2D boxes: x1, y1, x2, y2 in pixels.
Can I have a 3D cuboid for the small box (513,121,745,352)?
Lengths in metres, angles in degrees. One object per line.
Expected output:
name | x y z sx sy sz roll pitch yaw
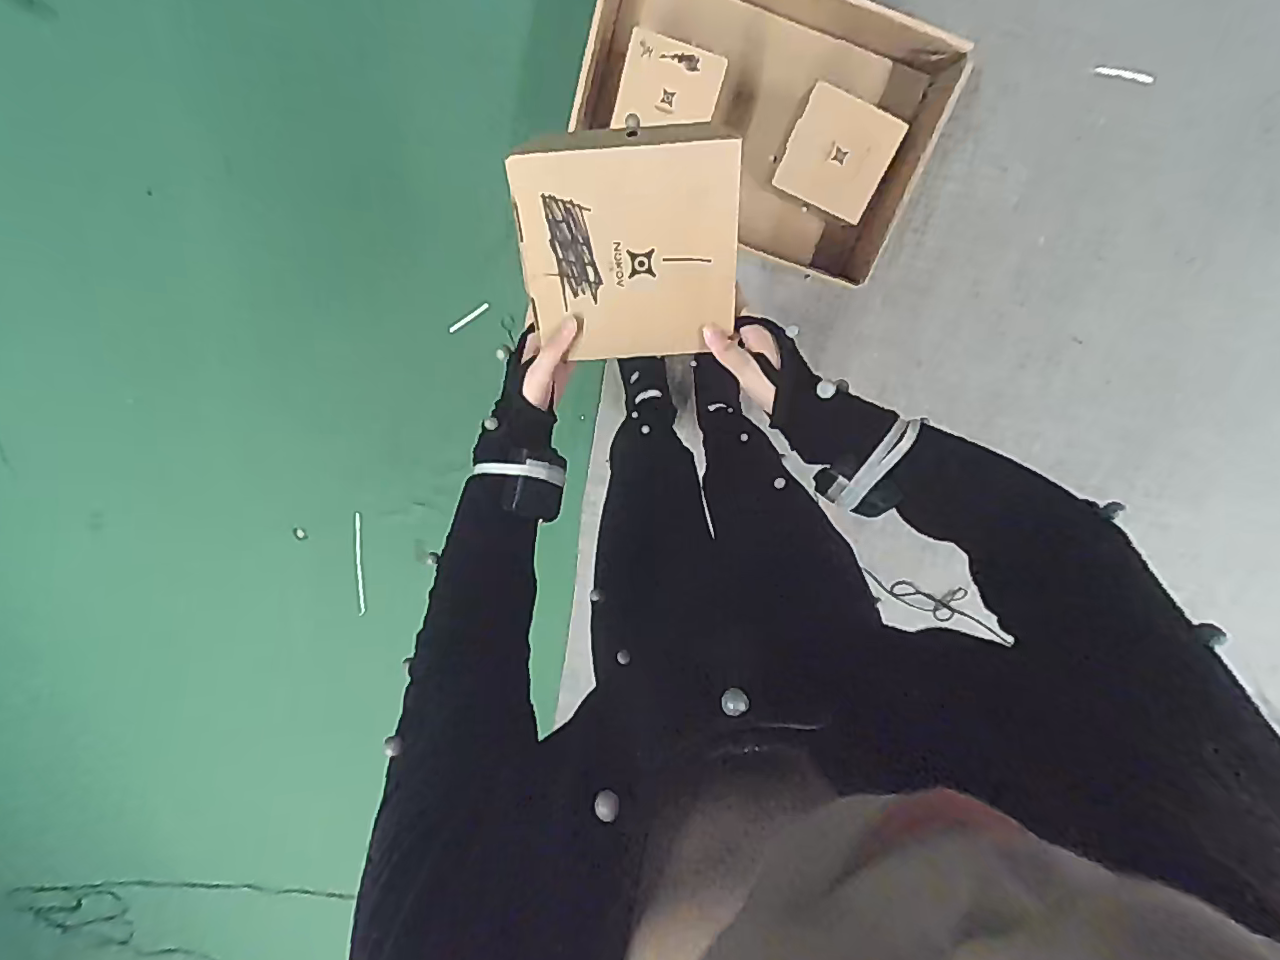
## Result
small box | -0.006 -0.233 0.510 0.179 0.176 0.168 -3 127 1
